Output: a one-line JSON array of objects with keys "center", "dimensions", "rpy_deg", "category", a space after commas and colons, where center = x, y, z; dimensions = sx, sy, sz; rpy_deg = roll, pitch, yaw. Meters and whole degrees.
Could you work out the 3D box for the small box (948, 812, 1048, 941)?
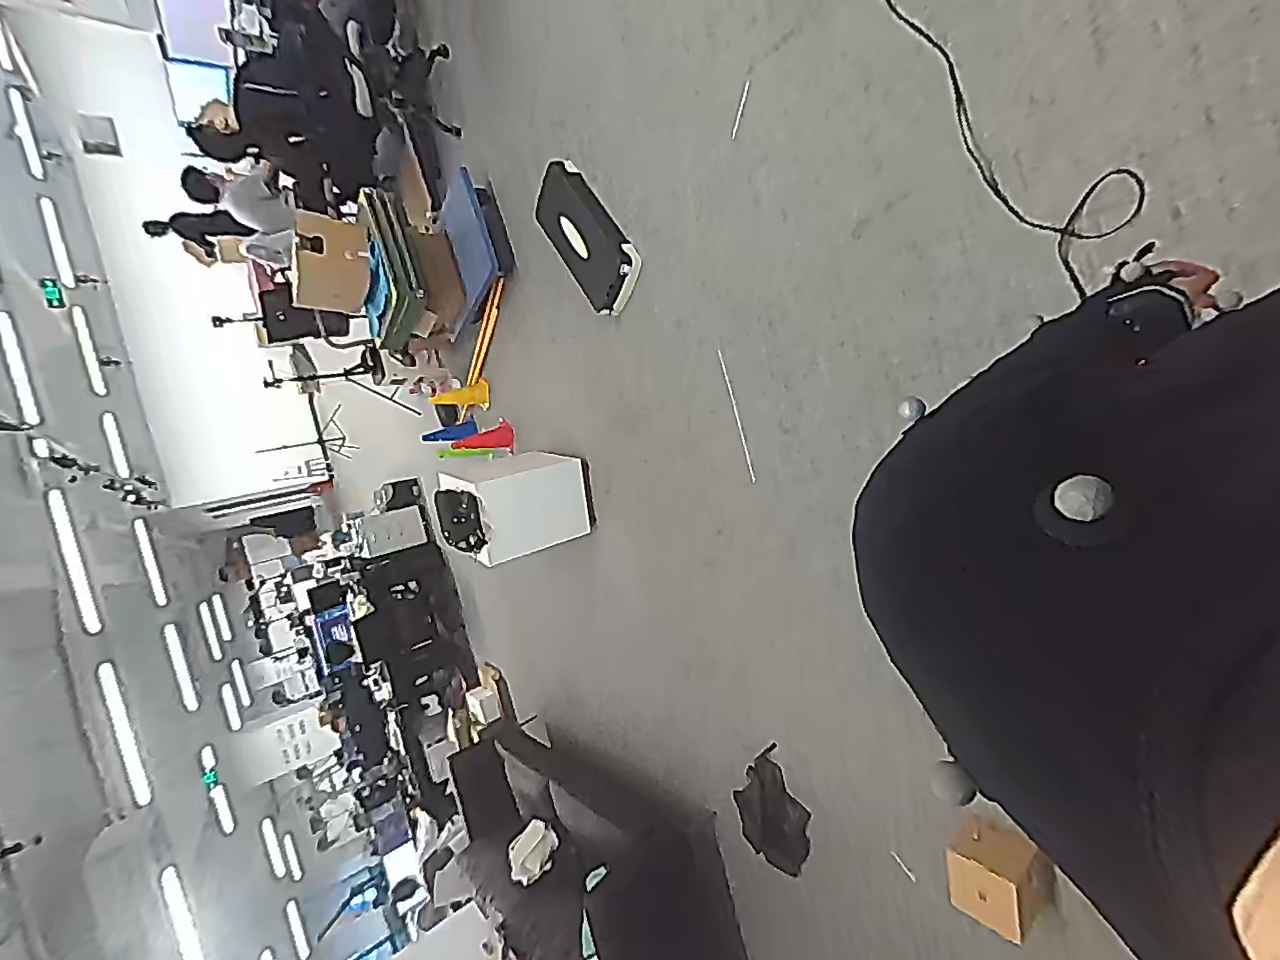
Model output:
[{"center": [0.938, 1.022, 1.414], "dimensions": [0.168, 0.176, 0.179], "rpy_deg": [0, 104, 56], "category": "small box"}]
